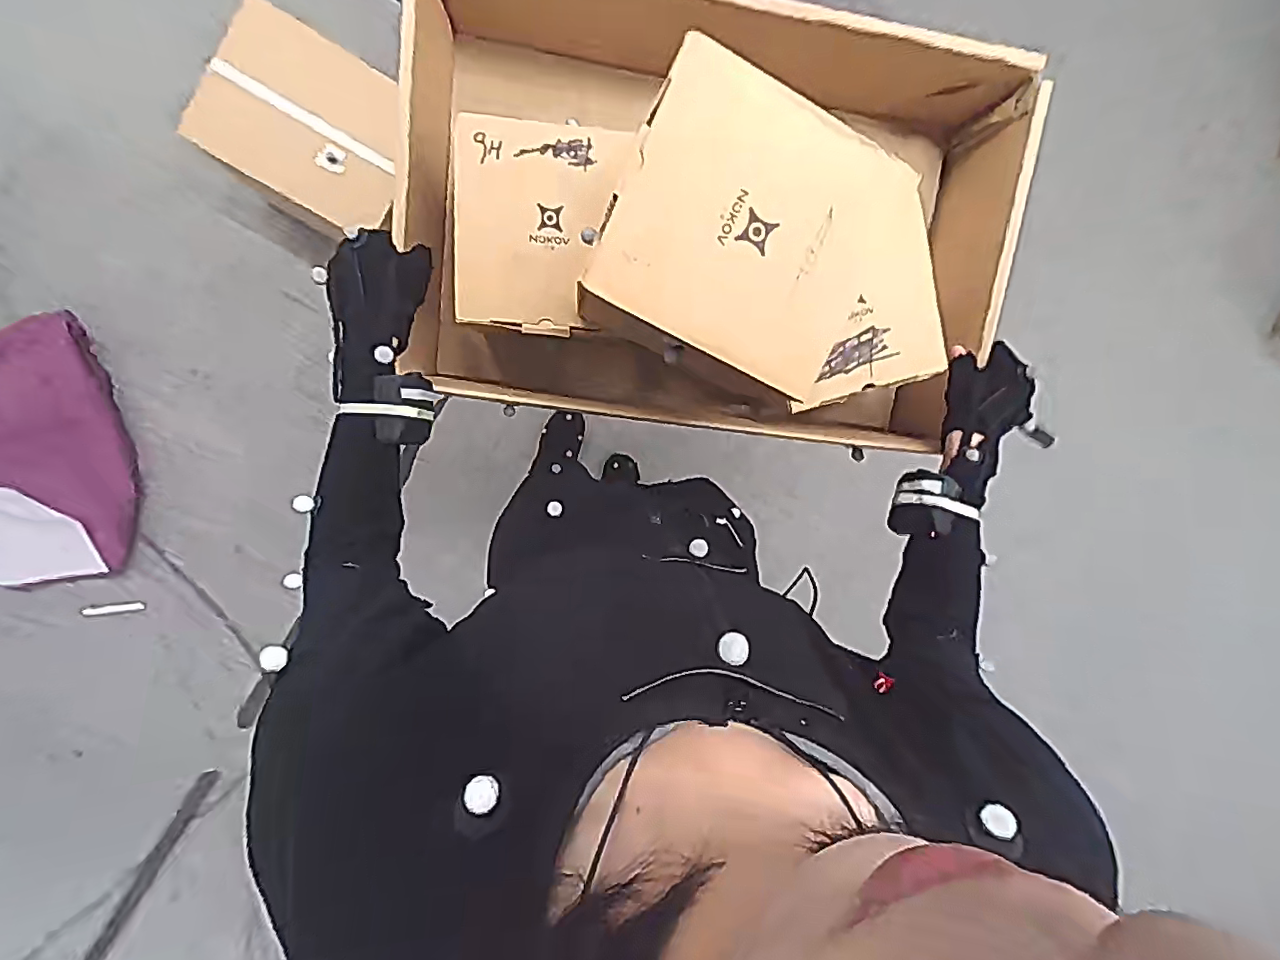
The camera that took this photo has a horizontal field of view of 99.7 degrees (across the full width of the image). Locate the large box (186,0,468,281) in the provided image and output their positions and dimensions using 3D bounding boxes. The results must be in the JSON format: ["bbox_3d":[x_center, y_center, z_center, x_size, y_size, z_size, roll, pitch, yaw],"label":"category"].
[{"bbox_3d":[-0.664,-0.723,1.225,0.408,0.320,0.320,28,91,-9],"label":"large box"}]
